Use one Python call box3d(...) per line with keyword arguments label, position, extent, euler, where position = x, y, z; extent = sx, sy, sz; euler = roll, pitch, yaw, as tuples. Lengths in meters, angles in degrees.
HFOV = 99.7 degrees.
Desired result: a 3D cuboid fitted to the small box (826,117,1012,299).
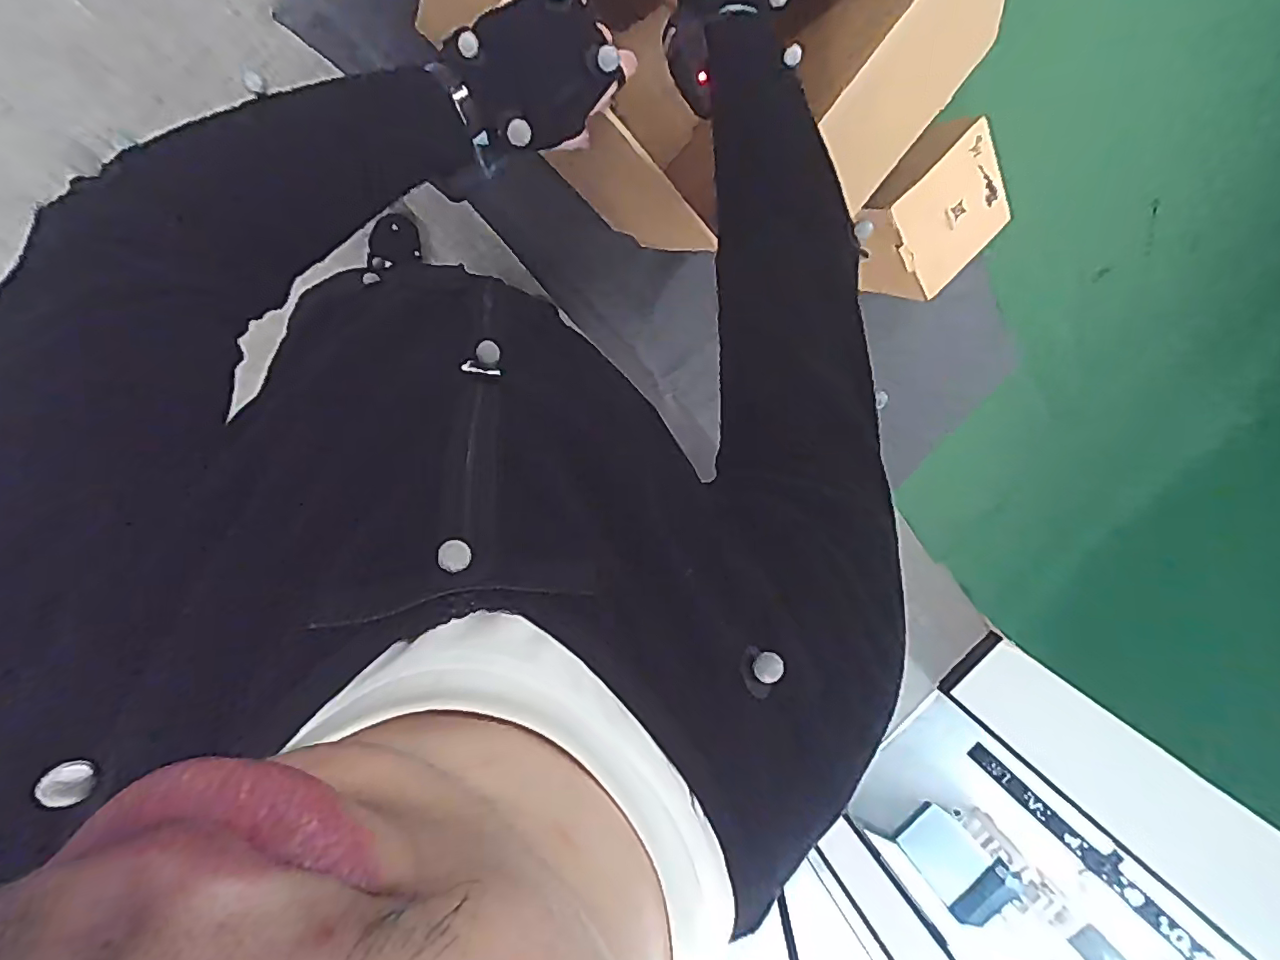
box3d(label="small box", position=(0.412, -0.409, 0.825), extent=(0.179, 0.176, 0.168), euler=(-43, 125, 3))
